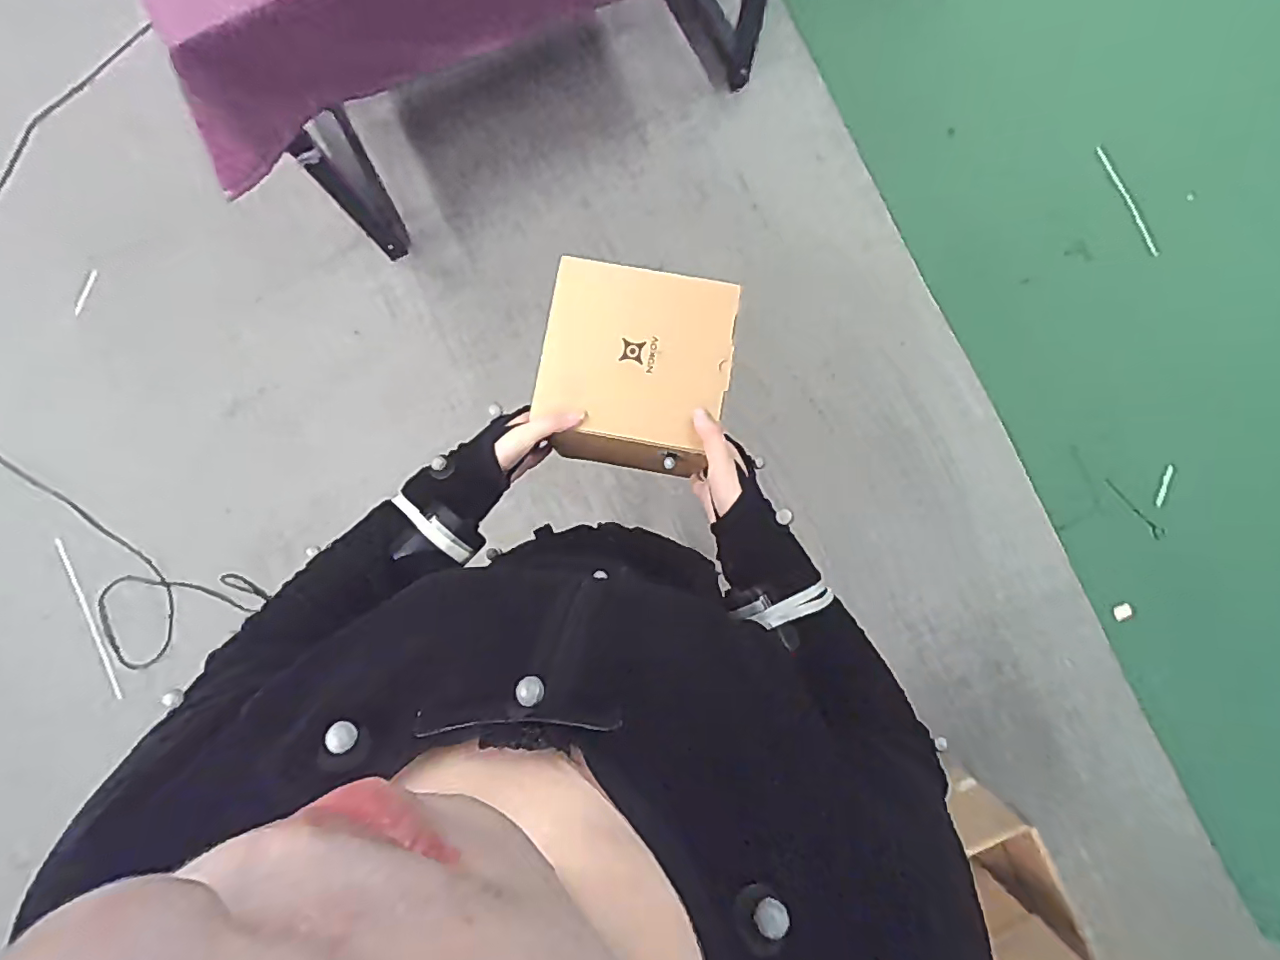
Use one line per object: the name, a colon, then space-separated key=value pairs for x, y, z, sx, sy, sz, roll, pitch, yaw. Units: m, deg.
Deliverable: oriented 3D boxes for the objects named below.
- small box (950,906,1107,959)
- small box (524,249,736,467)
small box: x=0.567 y=0.734 z=0.735 sx=0.168 sy=0.176 sz=0.179 roll=-24 pitch=86 yaw=-1
small box: x=-0.008 y=-0.116 z=0.580 sx=0.179 sy=0.176 sz=0.168 roll=10 pitch=82 yaw=1
